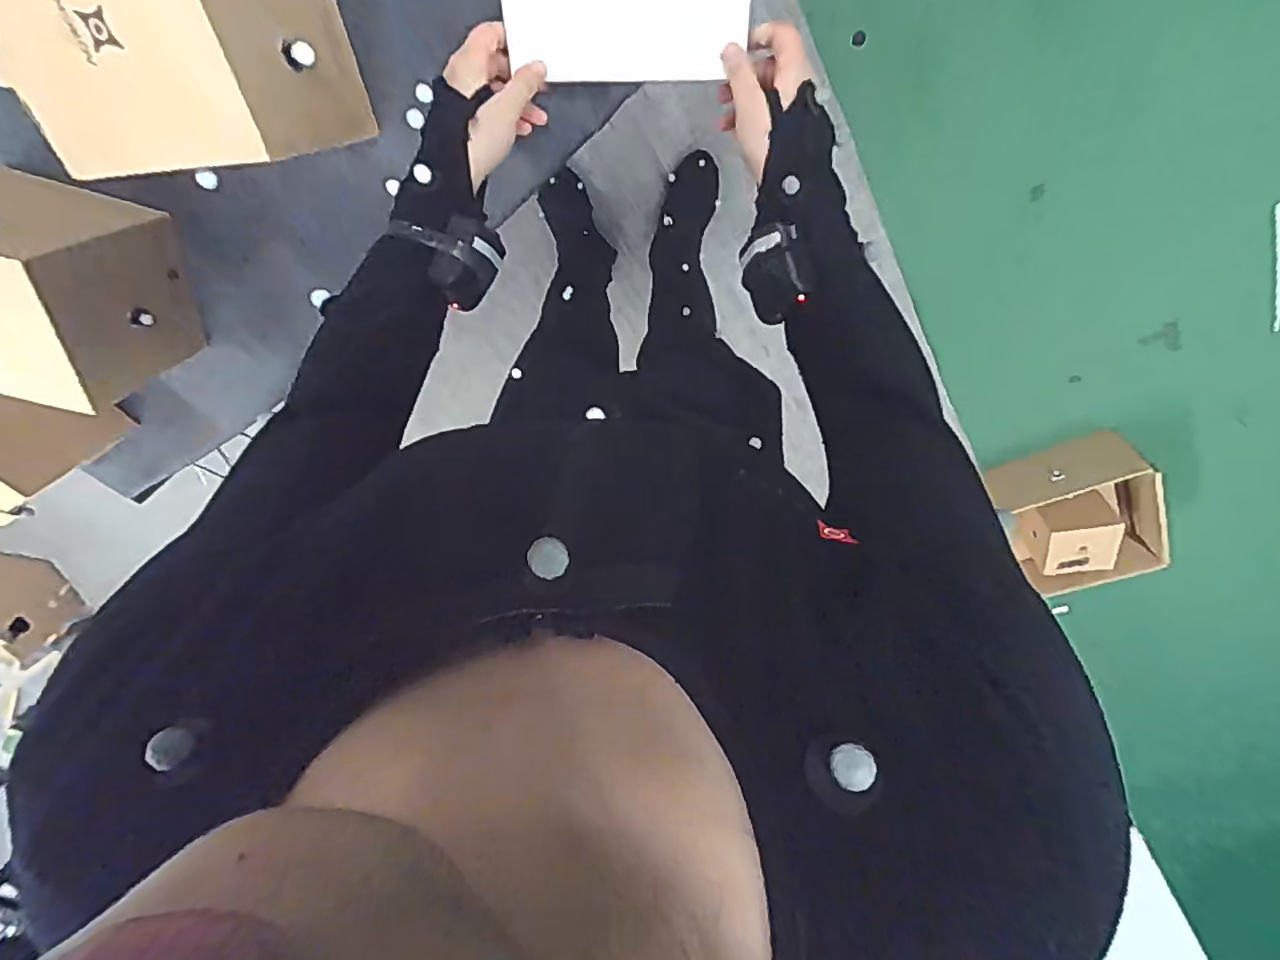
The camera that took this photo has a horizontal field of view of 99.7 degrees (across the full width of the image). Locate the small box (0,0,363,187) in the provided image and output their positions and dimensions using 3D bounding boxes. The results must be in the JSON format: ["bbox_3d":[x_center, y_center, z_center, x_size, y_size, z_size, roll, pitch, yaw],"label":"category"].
[{"bbox_3d":[-0.347,-0.340,0.415,0.179,0.176,0.168,0,129,9],"label":"small box"}]

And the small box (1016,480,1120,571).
[{"bbox_3d":[1.173,0.126,1.499,0.168,0.176,0.179,-11,128,16],"label":"small box"}]

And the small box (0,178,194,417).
[{"bbox_3d":[-0.620,-0.196,0.568,0.179,0.176,0.168,15,129,-5],"label":"small box"}]
